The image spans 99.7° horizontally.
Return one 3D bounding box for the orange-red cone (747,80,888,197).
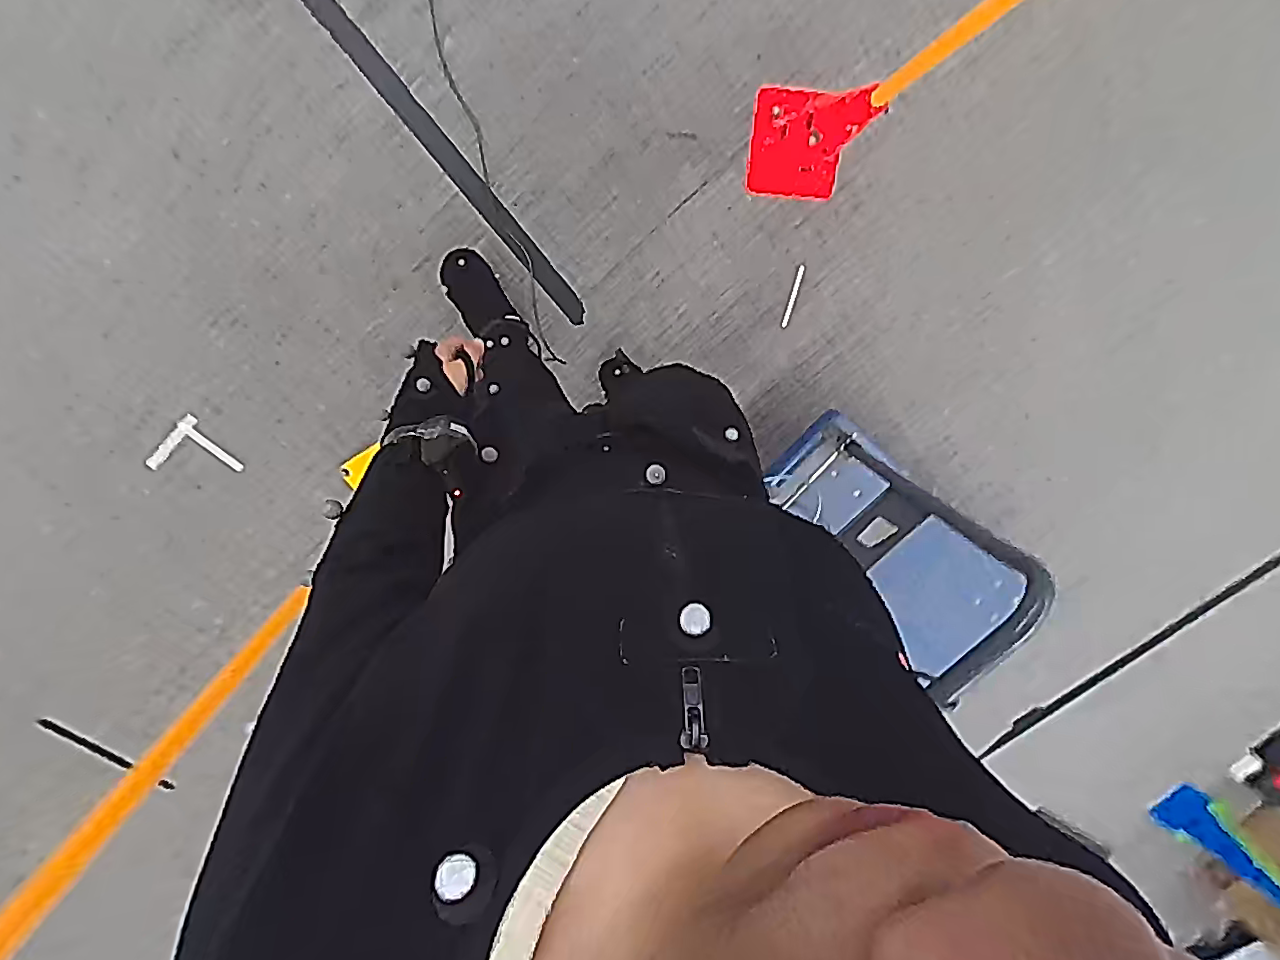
[{"bbox_3d":[0.348,-0.652,0.985,0.198,0.360,0.199,3,112,-7],"label":"orange-red cone"}]
